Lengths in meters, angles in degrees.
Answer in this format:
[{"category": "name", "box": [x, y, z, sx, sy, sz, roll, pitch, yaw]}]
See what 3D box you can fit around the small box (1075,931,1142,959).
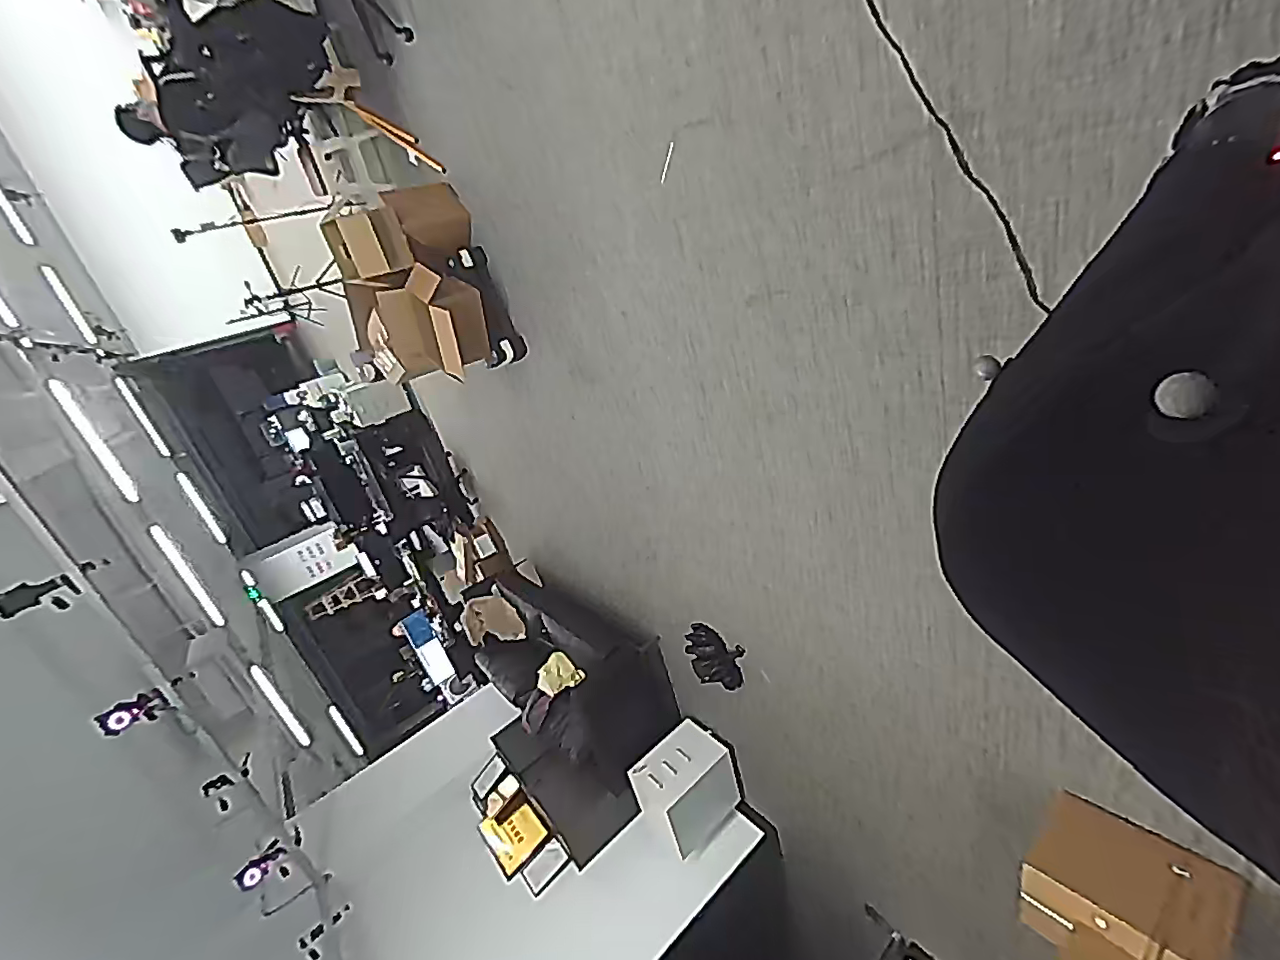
[{"category": "small box", "box": [1.249, 1.346, 1.421, 0.179, 0.176, 0.168, 22, 129, 48]}]
